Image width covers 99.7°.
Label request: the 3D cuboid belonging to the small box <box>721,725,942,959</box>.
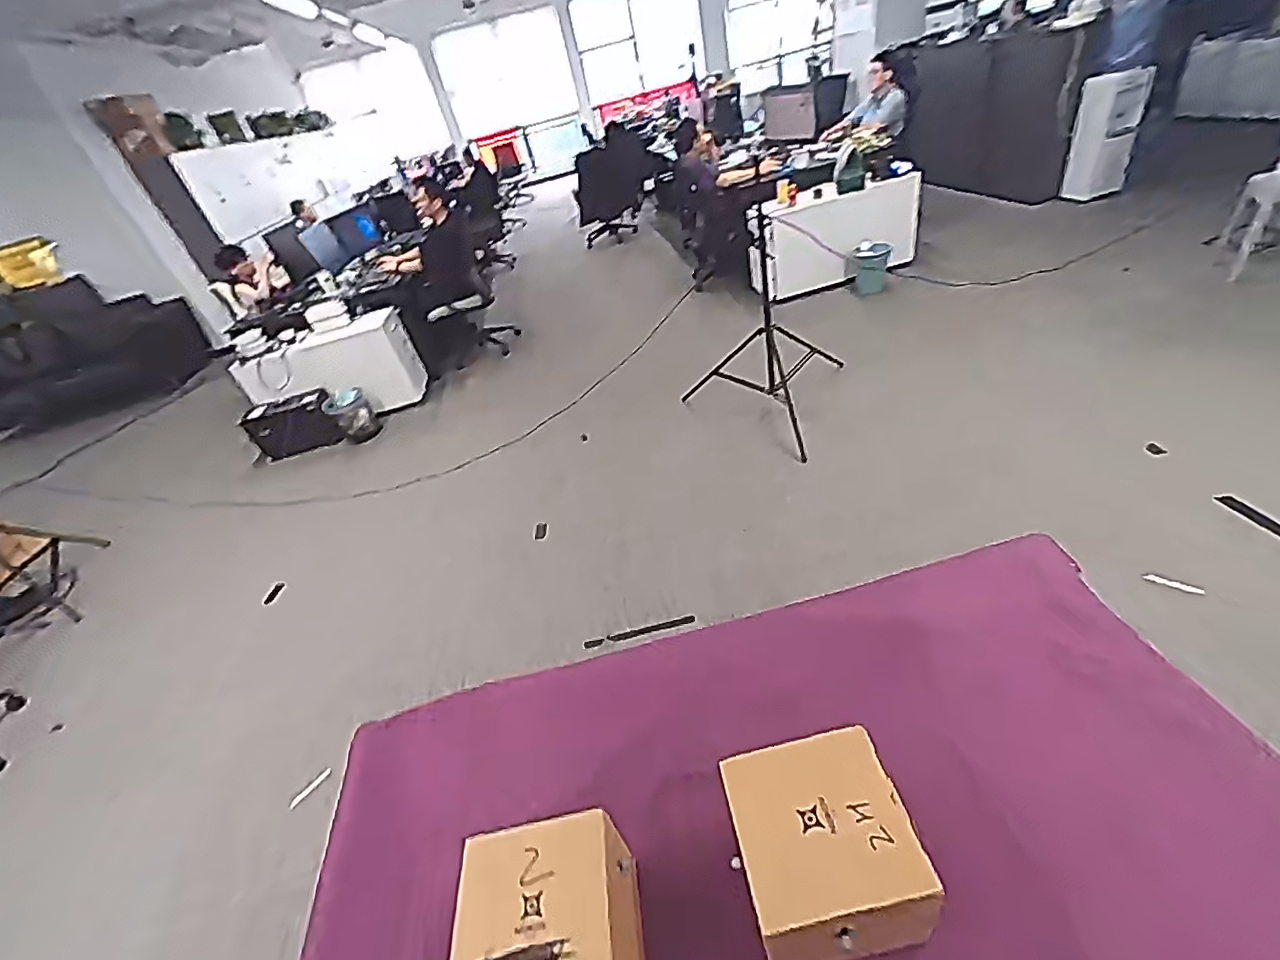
[{"bbox_3d":[0.205,0.413,0.608,0.179,0.176,0.168,-14,36,1],"label":"small box"}]
